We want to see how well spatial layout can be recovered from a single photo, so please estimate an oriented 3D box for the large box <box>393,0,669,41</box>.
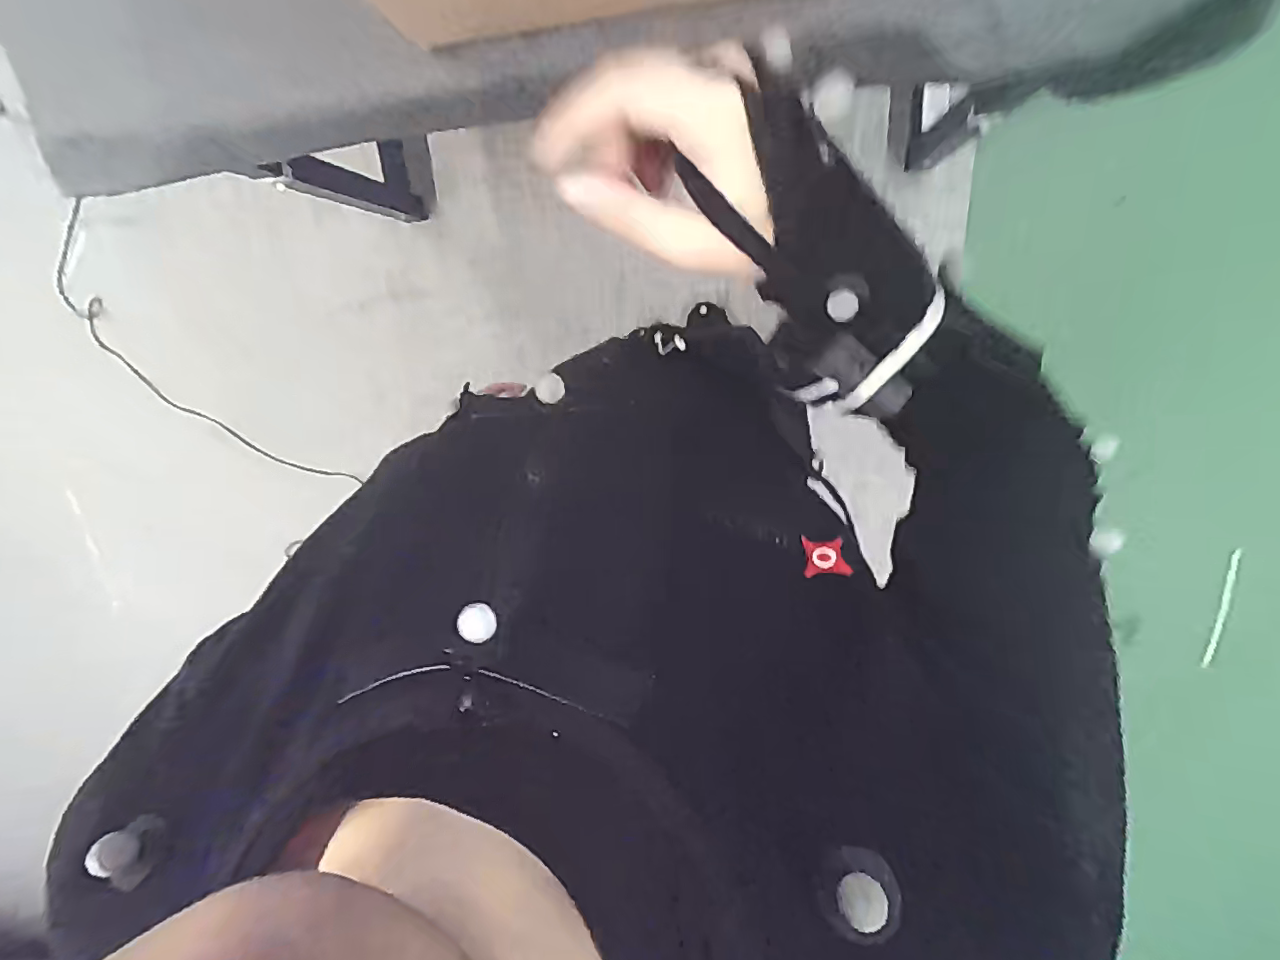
[{"bbox_3d":[-0.043,-0.543,0.322,0.408,0.320,0.320,-3,106,8],"label":"large box"}]
